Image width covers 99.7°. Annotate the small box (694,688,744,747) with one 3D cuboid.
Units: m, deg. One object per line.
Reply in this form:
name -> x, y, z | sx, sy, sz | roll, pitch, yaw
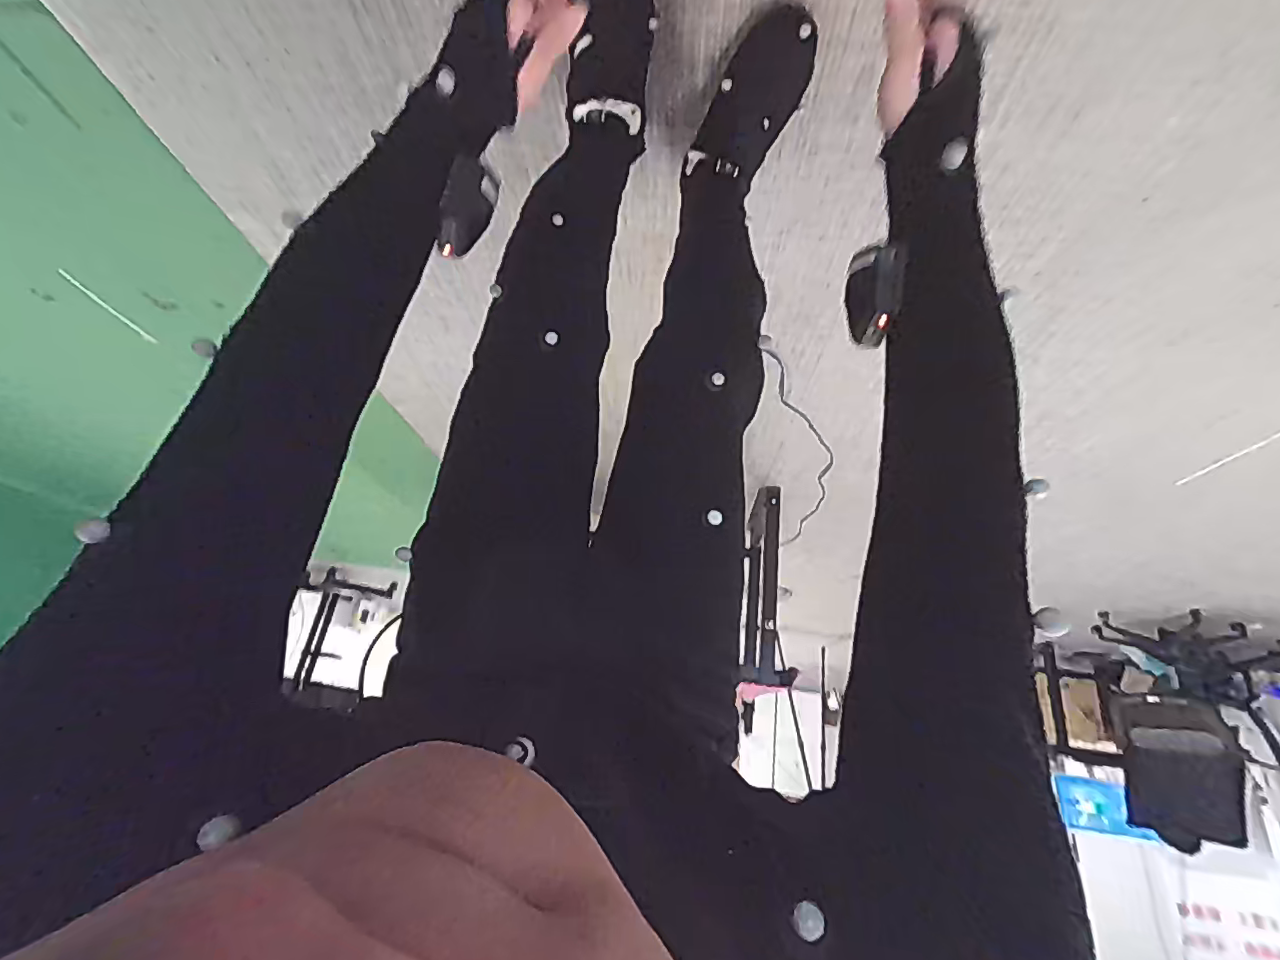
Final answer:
small box -> 0.288, 0.861, 1.961 | 0.168, 0.176, 0.179 | 4, 155, 10
